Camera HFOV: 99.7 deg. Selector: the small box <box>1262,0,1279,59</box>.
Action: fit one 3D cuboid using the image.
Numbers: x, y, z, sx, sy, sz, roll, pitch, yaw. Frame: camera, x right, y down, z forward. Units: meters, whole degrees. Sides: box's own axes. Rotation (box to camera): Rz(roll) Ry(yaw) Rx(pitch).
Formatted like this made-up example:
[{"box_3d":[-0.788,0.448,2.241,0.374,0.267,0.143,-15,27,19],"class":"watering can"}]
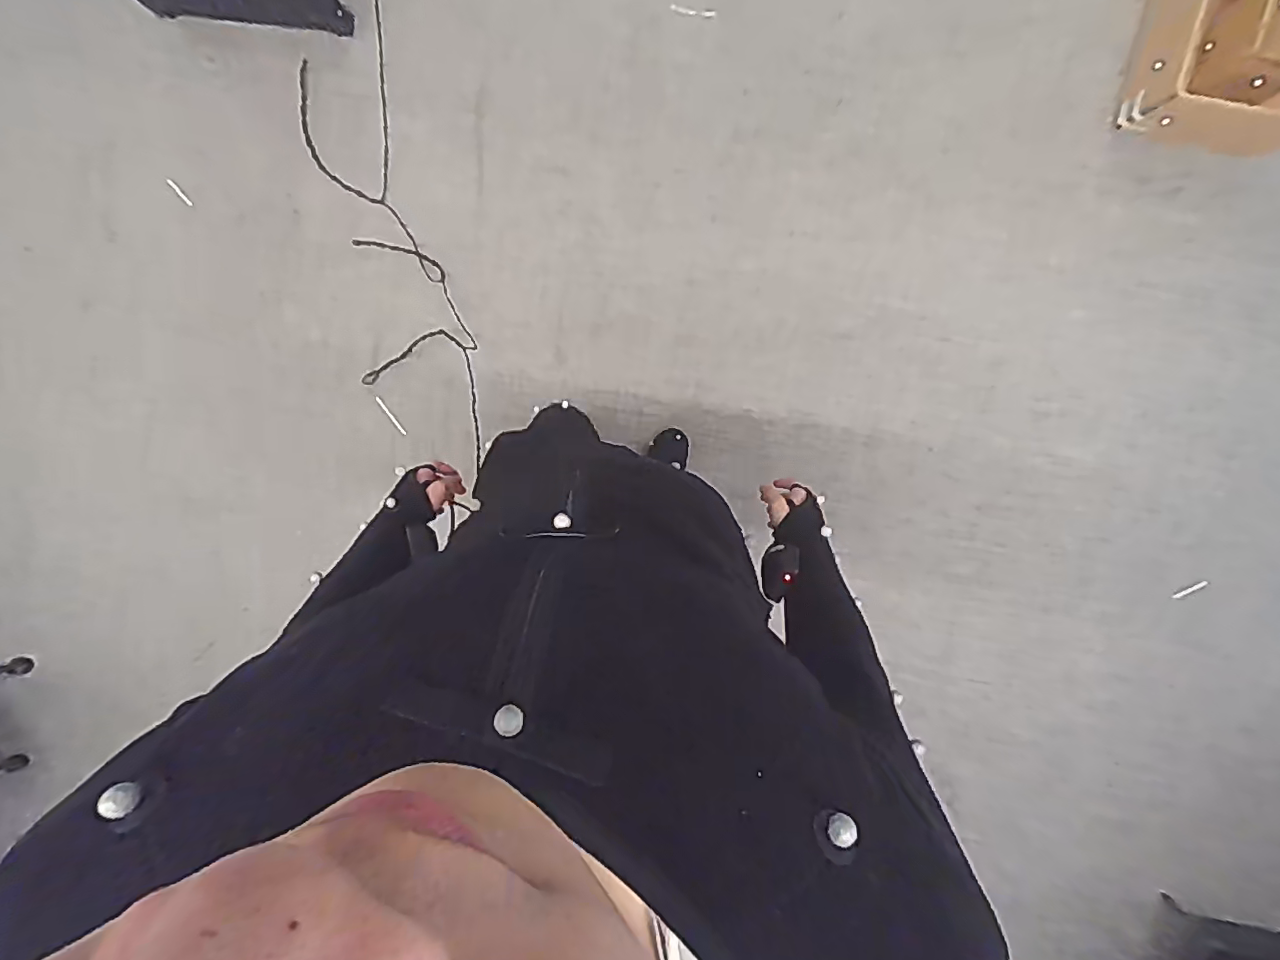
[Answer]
[{"box_3d":[1.438,-0.973,1.086,0.168,0.176,0.179,15,99,3],"class":"small box"}]
